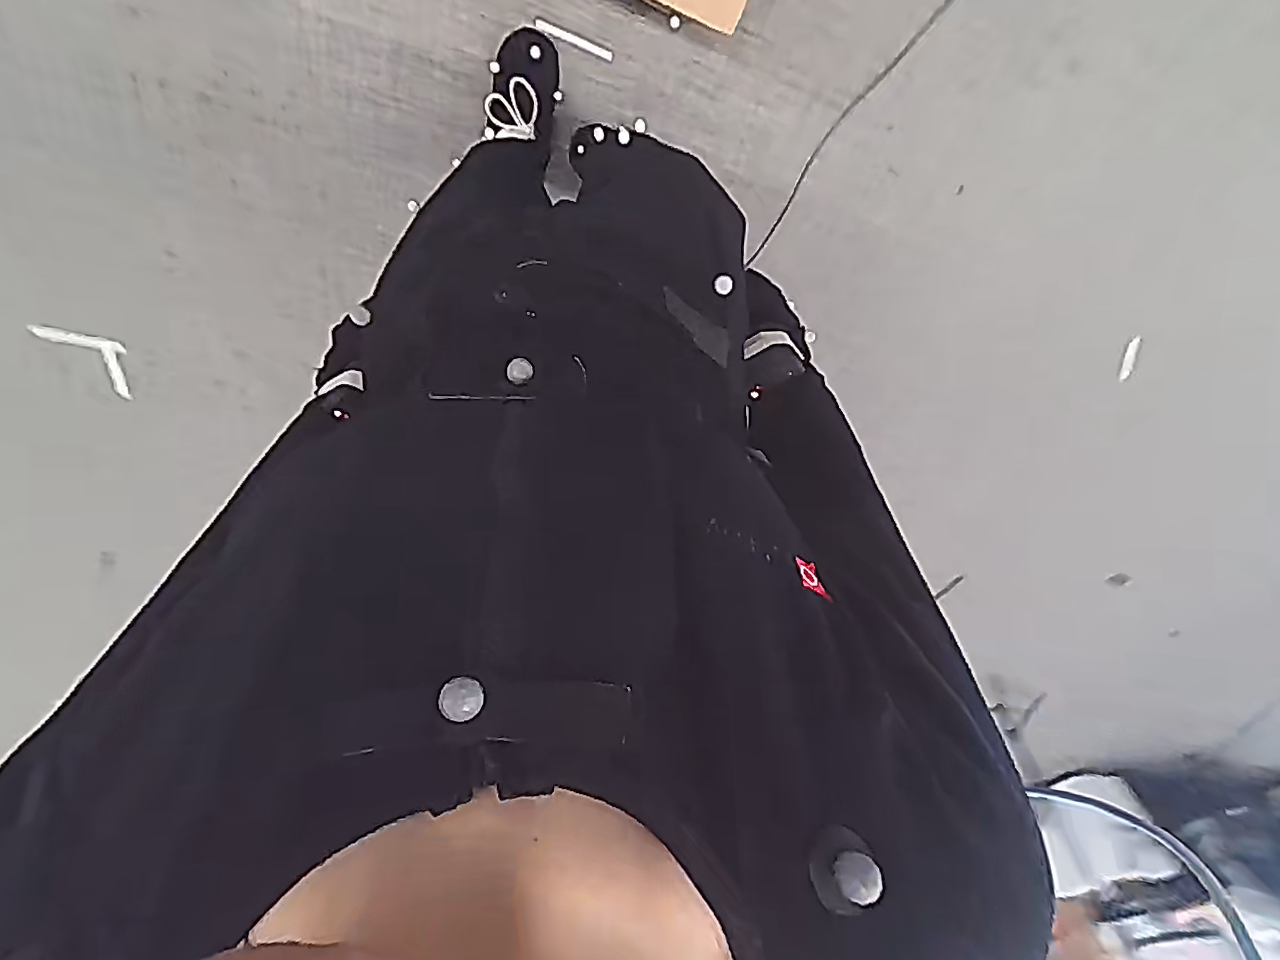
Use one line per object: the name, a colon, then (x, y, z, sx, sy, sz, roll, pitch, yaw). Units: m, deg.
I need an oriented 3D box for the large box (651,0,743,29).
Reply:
large box: (-0.022, -0.847, 0.681, 0.408, 0.320, 0.320, 13, 129, -17)
